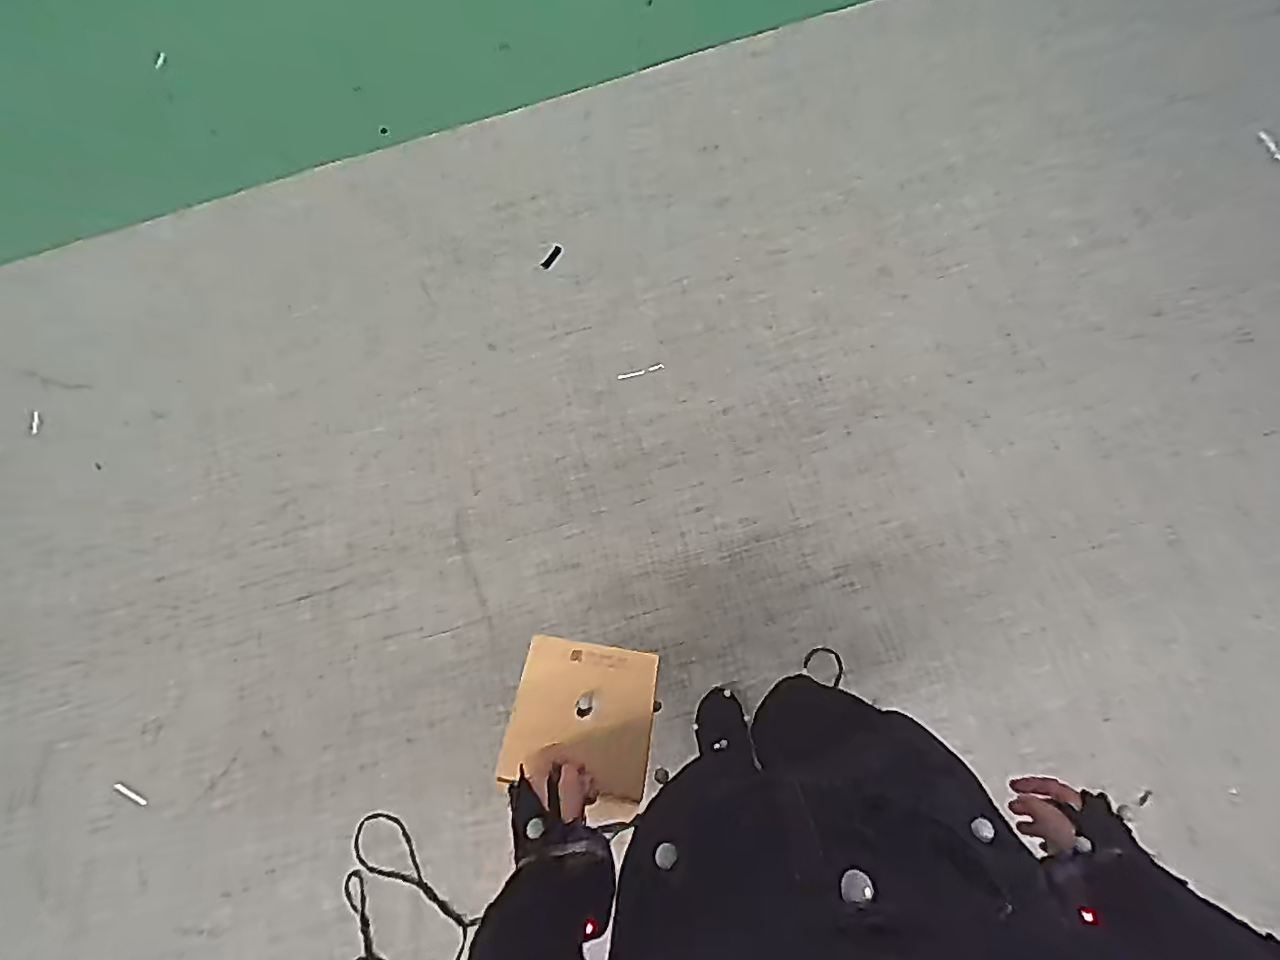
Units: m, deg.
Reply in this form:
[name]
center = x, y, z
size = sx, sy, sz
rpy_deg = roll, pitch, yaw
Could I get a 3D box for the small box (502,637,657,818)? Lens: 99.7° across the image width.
[small box]
center = -0.072, 0.322, 0.706
size = 0.168, 0.179, 0.176
rpy_deg = 9, 51, 0
